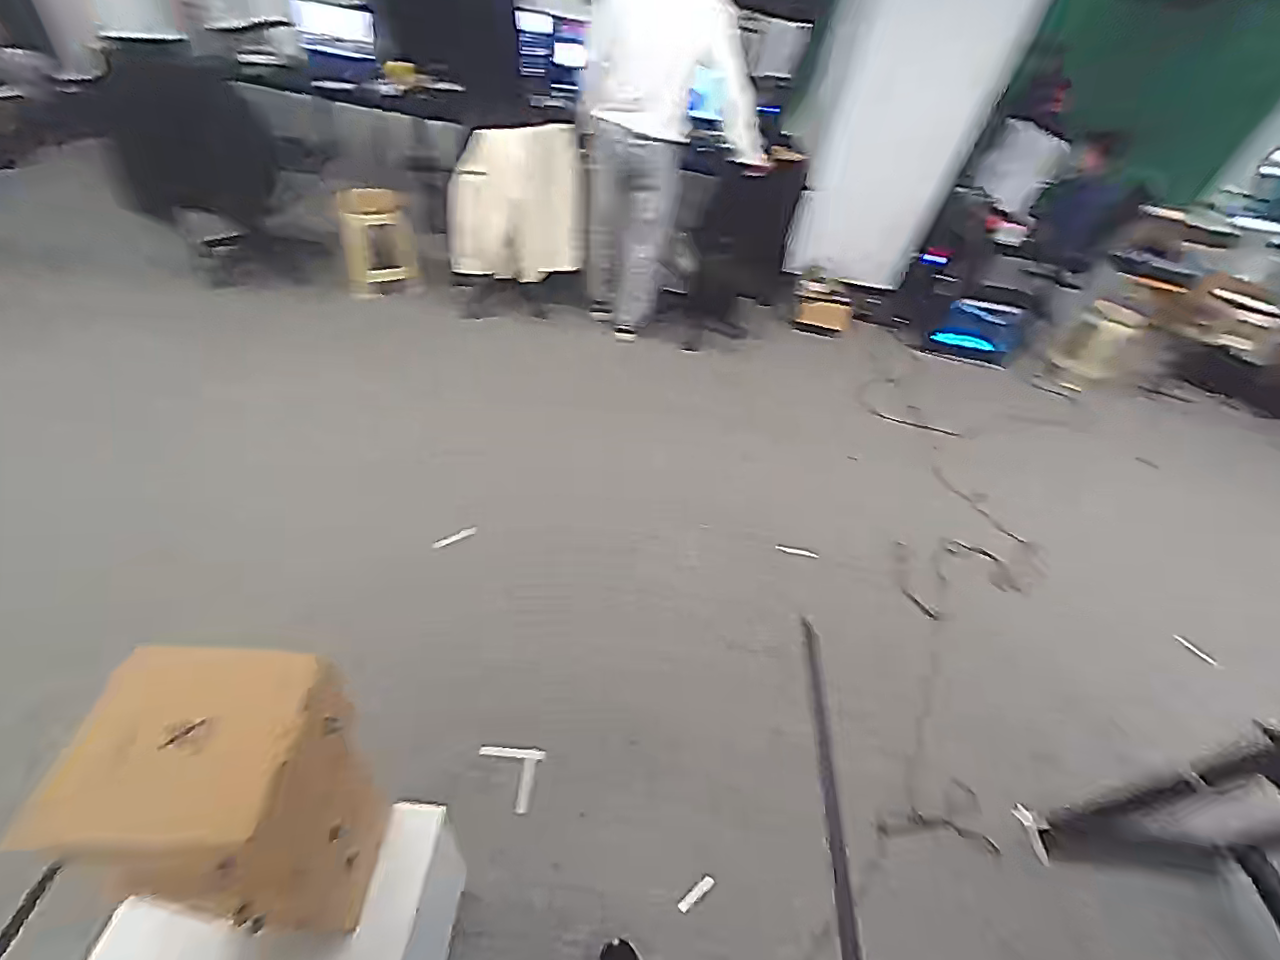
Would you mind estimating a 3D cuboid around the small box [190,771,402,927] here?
[{"bbox_3d":[-0.462,0.515,0.762,0.179,0.176,0.168,7,47,-4],"label":"small box"}]
